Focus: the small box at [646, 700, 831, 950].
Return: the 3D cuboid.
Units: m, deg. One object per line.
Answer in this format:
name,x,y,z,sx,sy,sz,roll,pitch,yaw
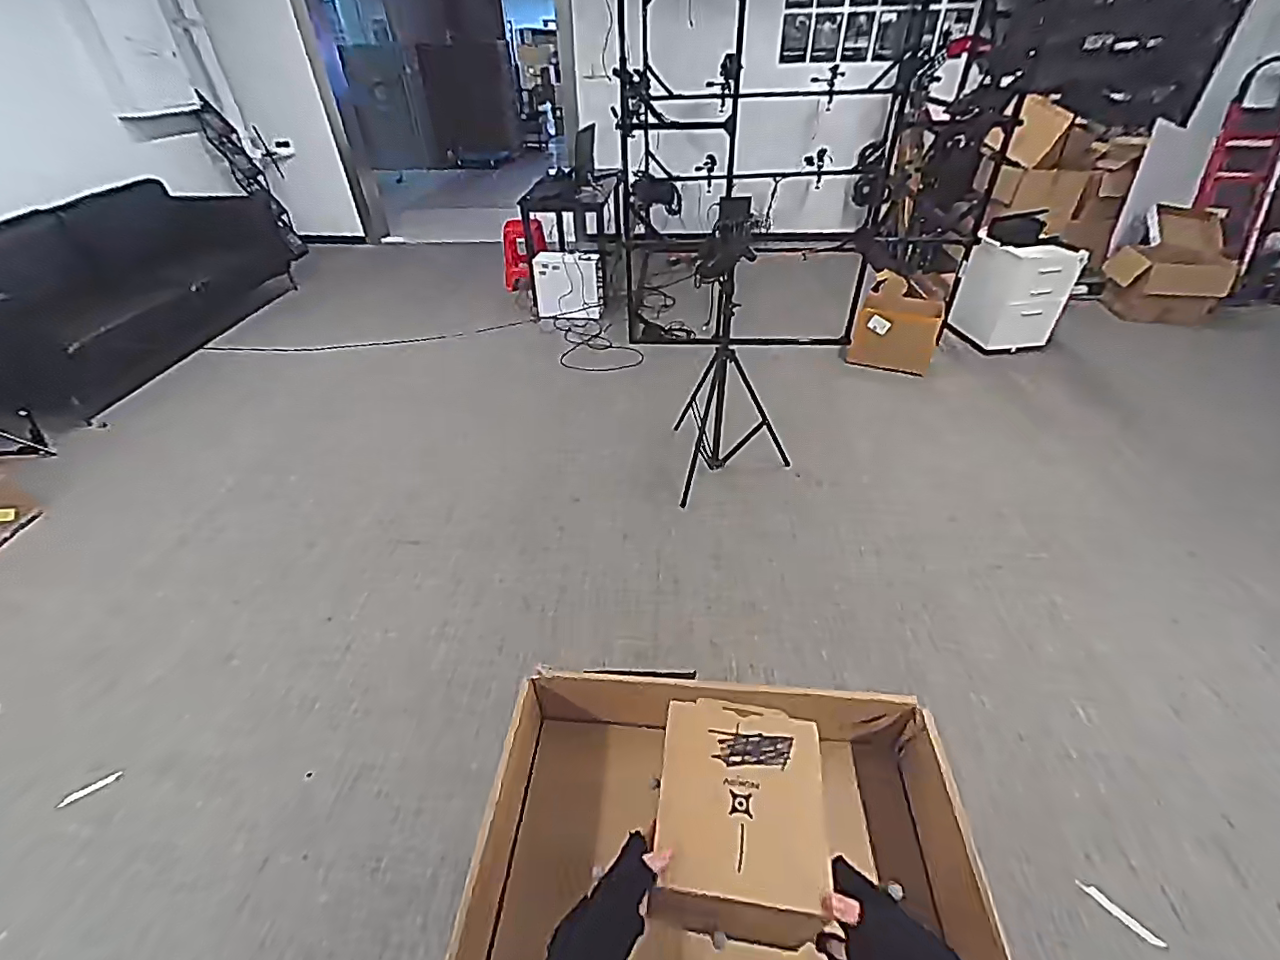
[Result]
small box,0.099,0.377,0.598,0.168,0.176,0.179,7,41,6
